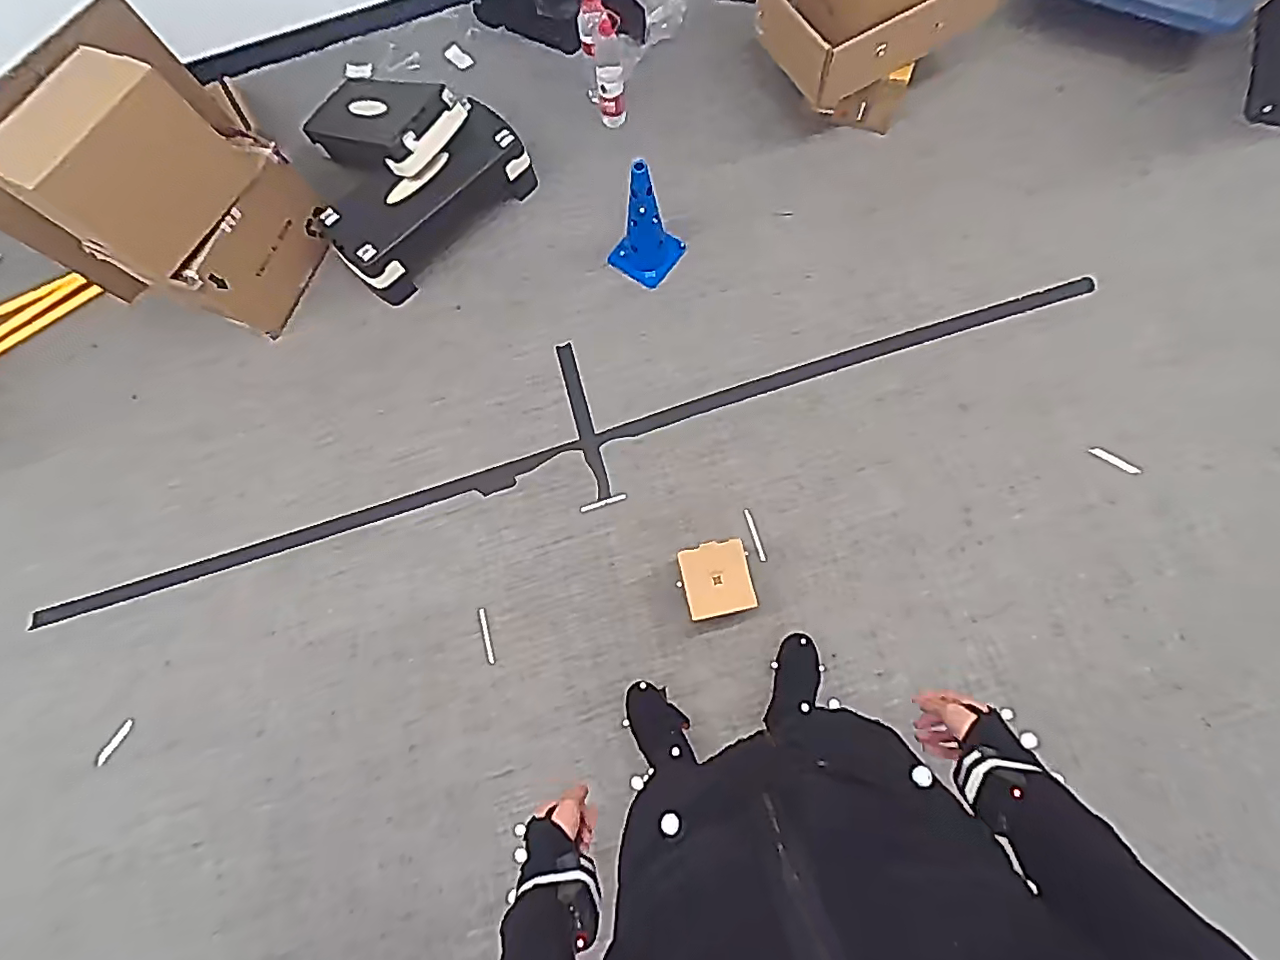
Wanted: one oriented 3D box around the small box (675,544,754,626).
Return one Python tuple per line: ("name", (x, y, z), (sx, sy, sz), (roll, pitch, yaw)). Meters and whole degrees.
("small box", (0.192, 0.278, 1.418), (0.168, 0.176, 0.179), (-13, 74, 1))
